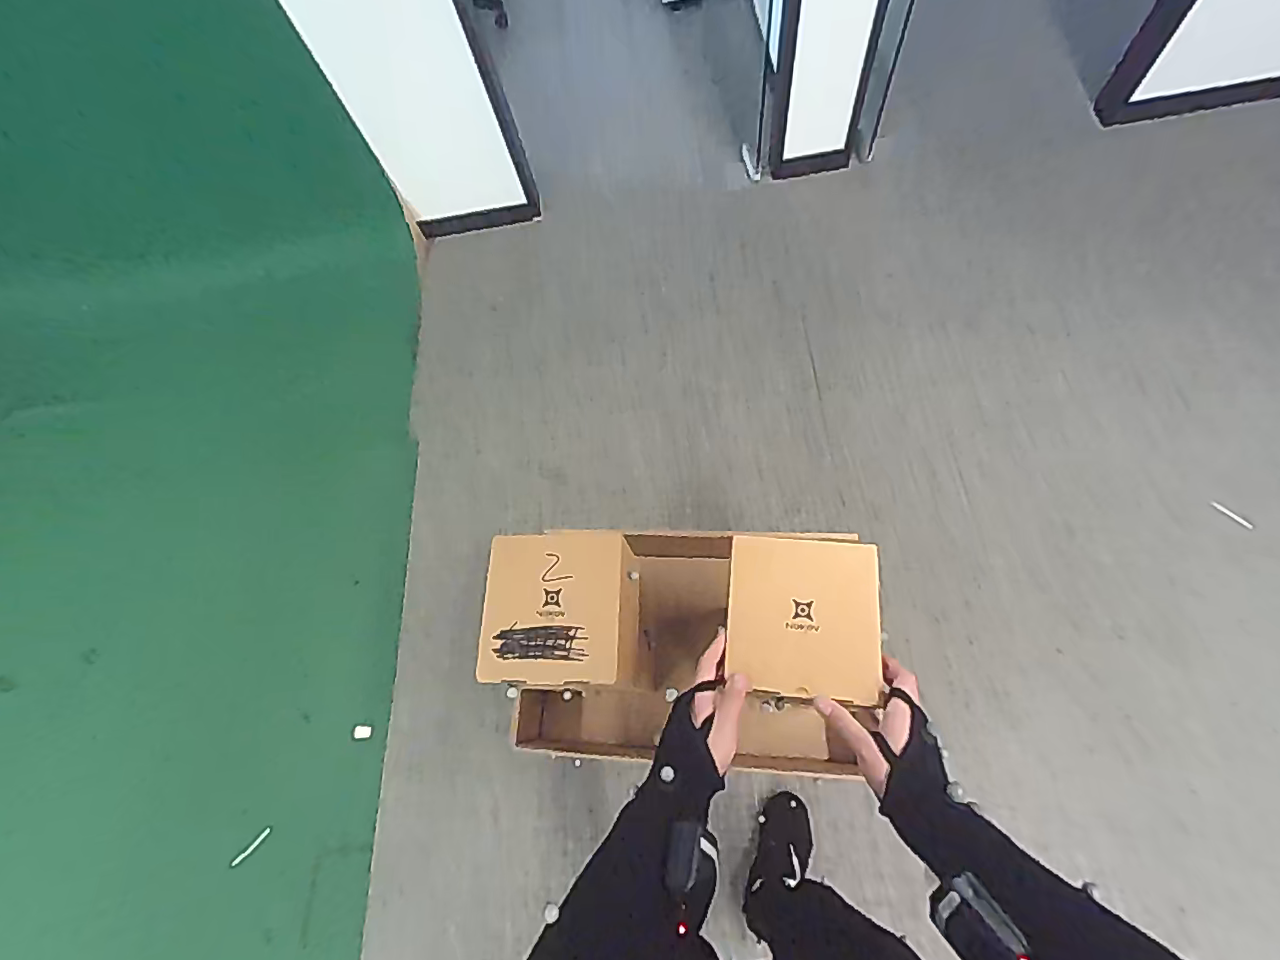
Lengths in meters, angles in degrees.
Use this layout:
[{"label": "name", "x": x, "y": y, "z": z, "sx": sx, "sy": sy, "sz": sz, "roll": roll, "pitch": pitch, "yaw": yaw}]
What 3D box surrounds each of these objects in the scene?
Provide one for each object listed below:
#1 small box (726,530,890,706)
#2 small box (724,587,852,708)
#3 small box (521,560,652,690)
[{"label": "small box", "x": 0.195, "y": 0.175, "z": 0.666, "sx": 0.168, "sy": 0.176, "sz": 0.179, "roll": 4, "pitch": 69, "yaw": 10}, {"label": "small box", "x": 0.215, "y": 0.239, "z": 0.813, "sx": 0.168, "sy": 0.176, "sz": 0.179, "roll": 3, "pitch": 68, "yaw": 10}, {"label": "small box", "x": -0.074, "y": 0.234, "z": 0.853, "sx": 0.168, "sy": 0.176, "sz": 0.179, "roll": -2, "pitch": 67, "yaw": 8}]
